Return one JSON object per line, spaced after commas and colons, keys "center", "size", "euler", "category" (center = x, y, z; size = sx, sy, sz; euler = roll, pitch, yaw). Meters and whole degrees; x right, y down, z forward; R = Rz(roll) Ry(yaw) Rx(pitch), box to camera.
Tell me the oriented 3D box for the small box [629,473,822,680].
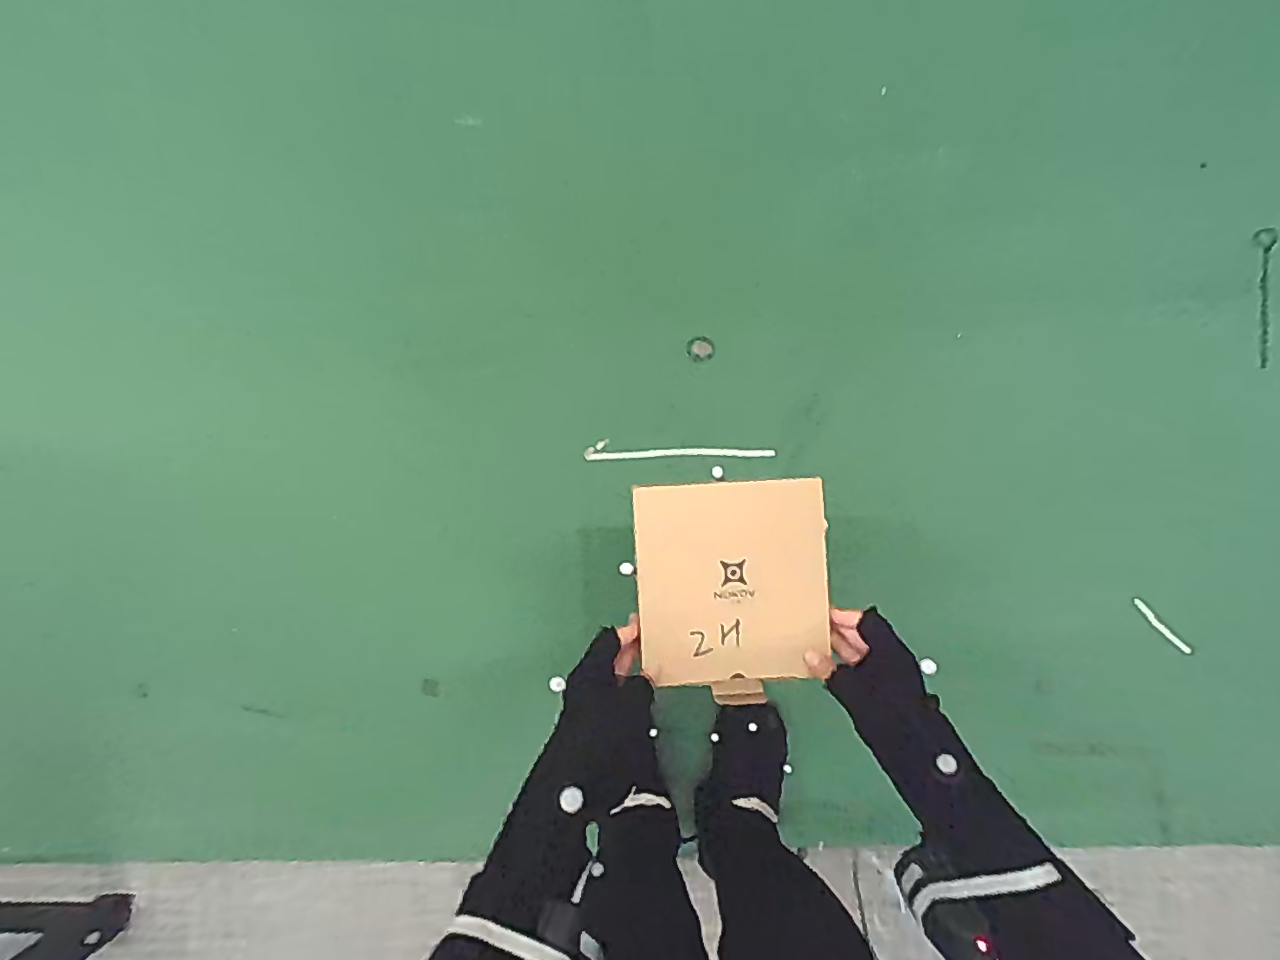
{"center": [0.074, 0.087, 0.555], "size": [0.168, 0.176, 0.179], "euler": [-3, 90, 0], "category": "small box"}
